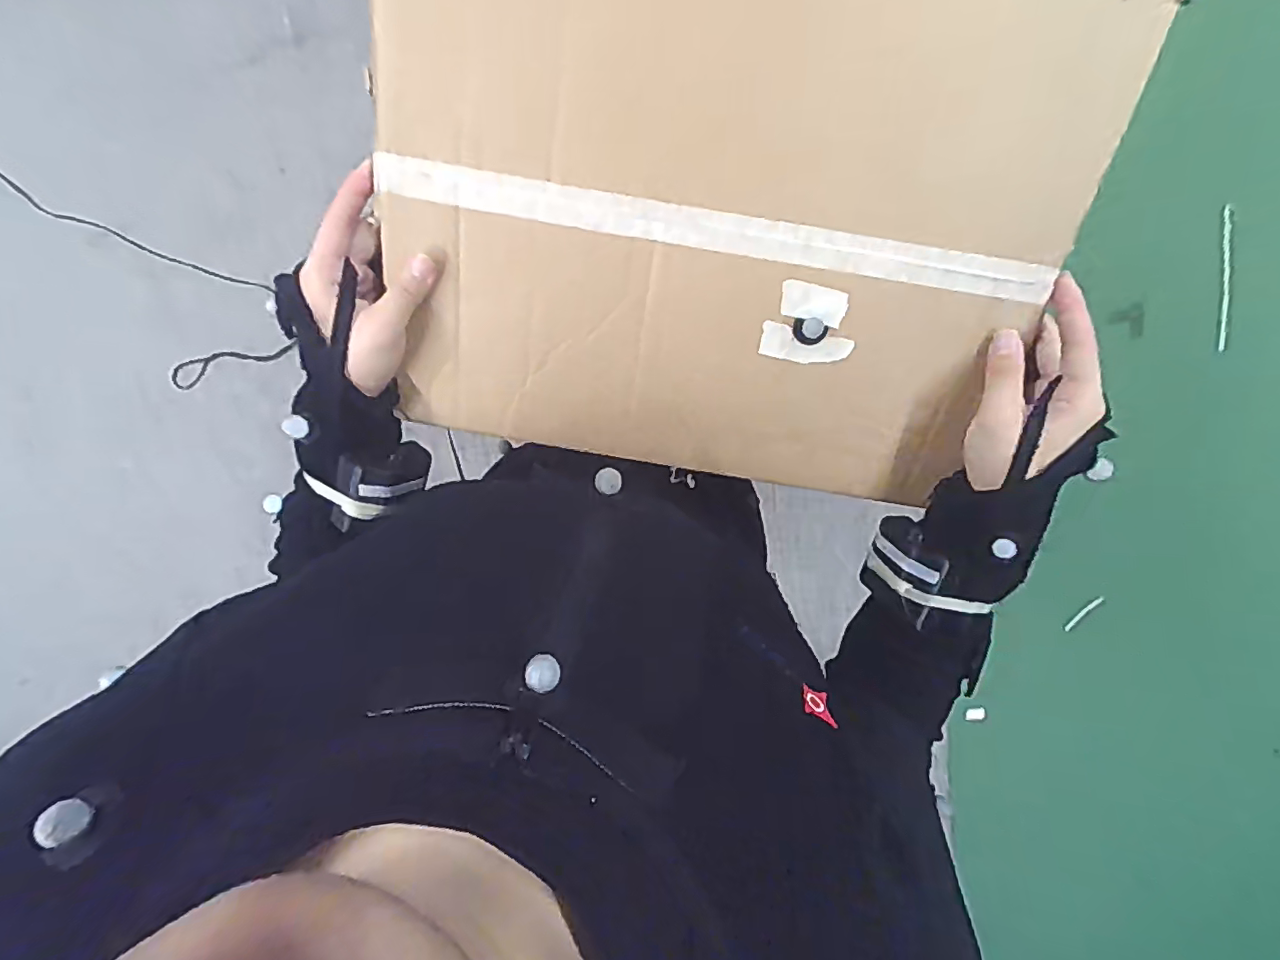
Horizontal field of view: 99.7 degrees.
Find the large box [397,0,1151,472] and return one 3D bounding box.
[{"bbox_3d":[0.058,-0.228,0.463,0.408,0.320,0.320,8,116,-2],"label":"large box"}]
